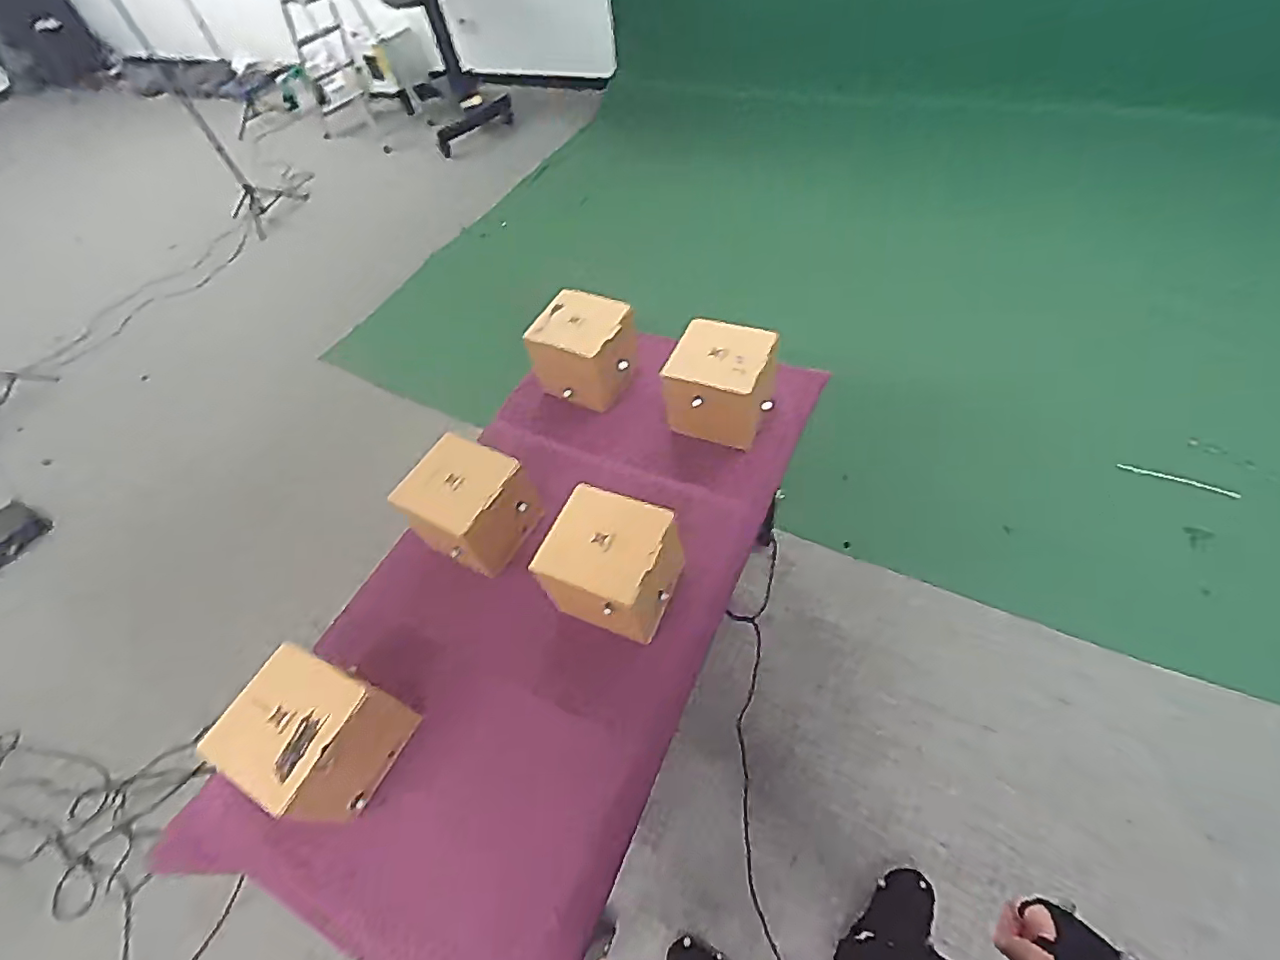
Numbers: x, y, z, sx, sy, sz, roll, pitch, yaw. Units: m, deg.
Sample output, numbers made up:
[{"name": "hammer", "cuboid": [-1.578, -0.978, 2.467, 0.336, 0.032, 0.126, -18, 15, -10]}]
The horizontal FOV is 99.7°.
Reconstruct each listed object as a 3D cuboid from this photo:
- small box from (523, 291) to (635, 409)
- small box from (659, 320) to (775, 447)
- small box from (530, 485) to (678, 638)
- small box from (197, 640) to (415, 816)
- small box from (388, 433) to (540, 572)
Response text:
[{"name": "small box", "cuboid": [-0.124, -0.282, 1.194, 0.179, 0.176, 0.168, 21, 61, 19]}, {"name": "small box", "cuboid": [0.157, -0.190, 1.083, 0.179, 0.176, 0.168, 18, 61, 21]}, {"name": "small box", "cuboid": [-0.048, 0.137, 0.891, 0.179, 0.176, 0.168, 16, 59, 20]}, {"name": "small box", "cuboid": [-0.472, 0.367, 0.794, 0.179, 0.176, 0.168, 19, 60, 21]}, {"name": "small box", "cuboid": [-0.311, 0.047, 0.997, 0.179, 0.176, 0.168, 22, 60, 22]}]
